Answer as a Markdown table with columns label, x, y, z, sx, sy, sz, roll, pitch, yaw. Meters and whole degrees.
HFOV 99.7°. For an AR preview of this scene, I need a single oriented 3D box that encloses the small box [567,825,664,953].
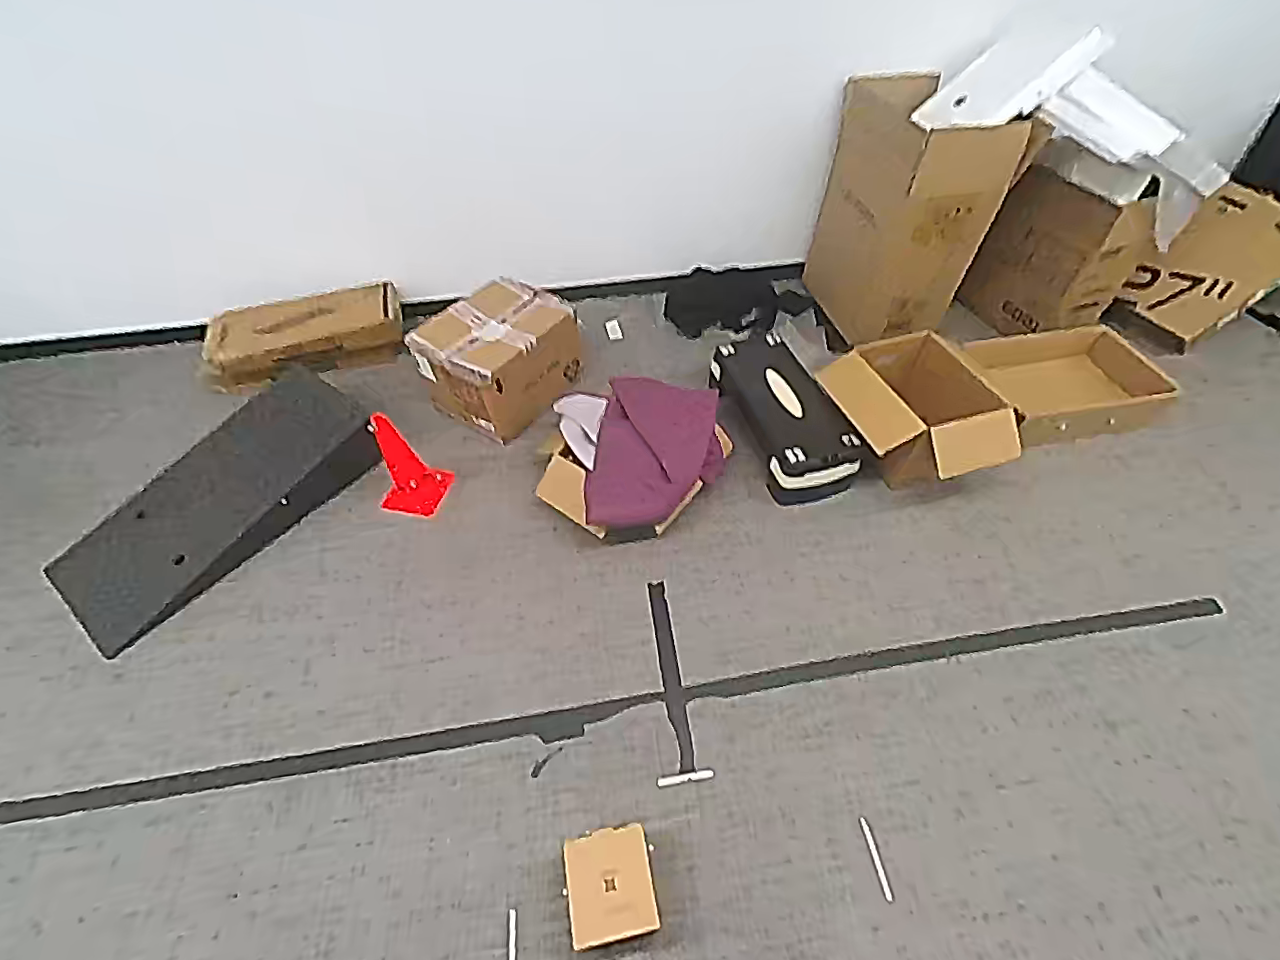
| label | x | y | z | sx | sy | sz | roll | pitch | yaw |
| --- | --- | --- | --- | --- | --- | --- | --- | --- | --- |
| small box | -0.051 | 0.838 | 1.109 | 0.168 | 0.176 | 0.179 | -11 | 52 | -5 |
